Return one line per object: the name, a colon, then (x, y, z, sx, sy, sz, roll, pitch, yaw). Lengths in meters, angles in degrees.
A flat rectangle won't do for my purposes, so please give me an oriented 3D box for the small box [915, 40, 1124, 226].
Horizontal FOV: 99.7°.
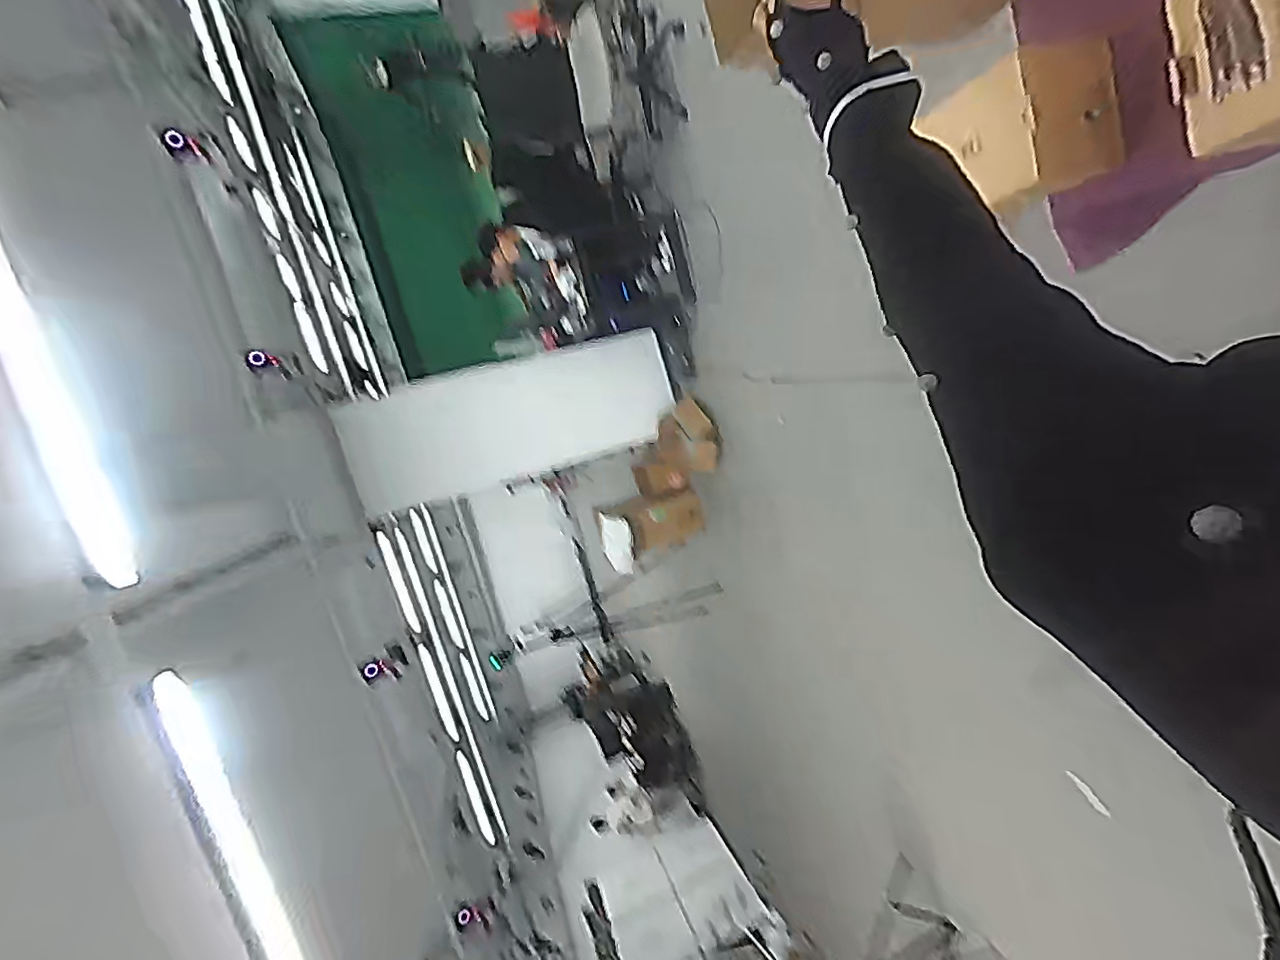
small box: (0.550, -0.500, 0.795, 0.179, 0.176, 0.168, -174, 67, -72)
